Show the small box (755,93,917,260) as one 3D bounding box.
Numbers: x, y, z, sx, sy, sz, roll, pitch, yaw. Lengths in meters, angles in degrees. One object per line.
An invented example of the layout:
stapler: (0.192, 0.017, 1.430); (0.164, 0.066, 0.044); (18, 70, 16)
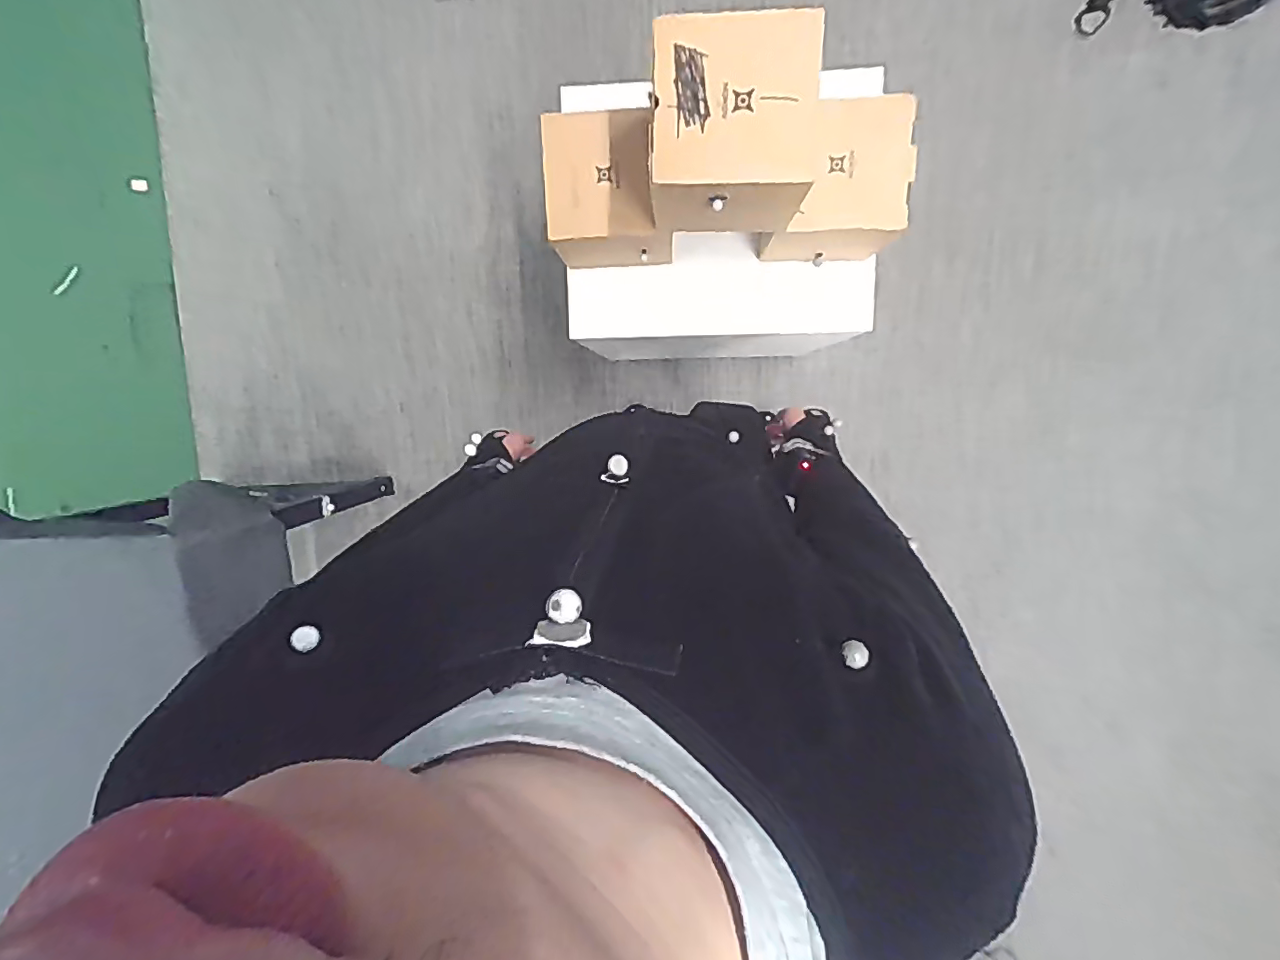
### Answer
small box: (0.270, -0.425, 0.782); (0.179, 0.176, 0.168); (0, 98, 3)

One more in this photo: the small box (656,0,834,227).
small box: (0.108, -0.404, 0.624); (0.179, 0.176, 0.168); (0, 98, 2)

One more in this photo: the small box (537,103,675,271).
small box: (-0.043, -0.416, 0.792); (0.179, 0.176, 0.168); (-4, 97, 2)
